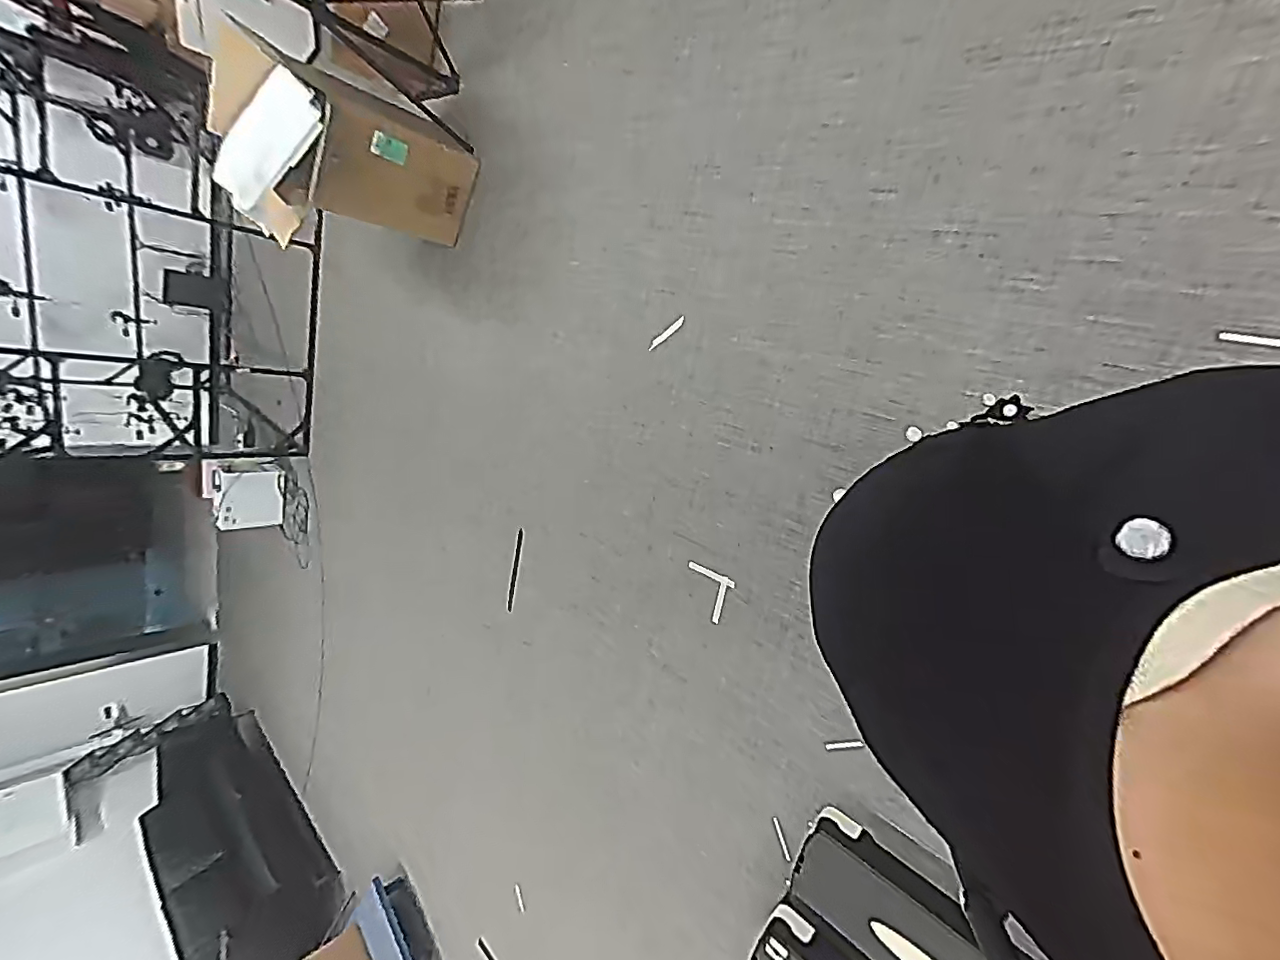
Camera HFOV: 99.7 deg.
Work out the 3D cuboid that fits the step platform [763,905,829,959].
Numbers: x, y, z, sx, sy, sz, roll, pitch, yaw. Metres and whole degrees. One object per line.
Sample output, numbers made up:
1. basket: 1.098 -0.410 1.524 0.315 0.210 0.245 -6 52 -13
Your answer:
1. step platform: 0.592 1.447 1.300 0.684 0.204 0.286 31 111 37
